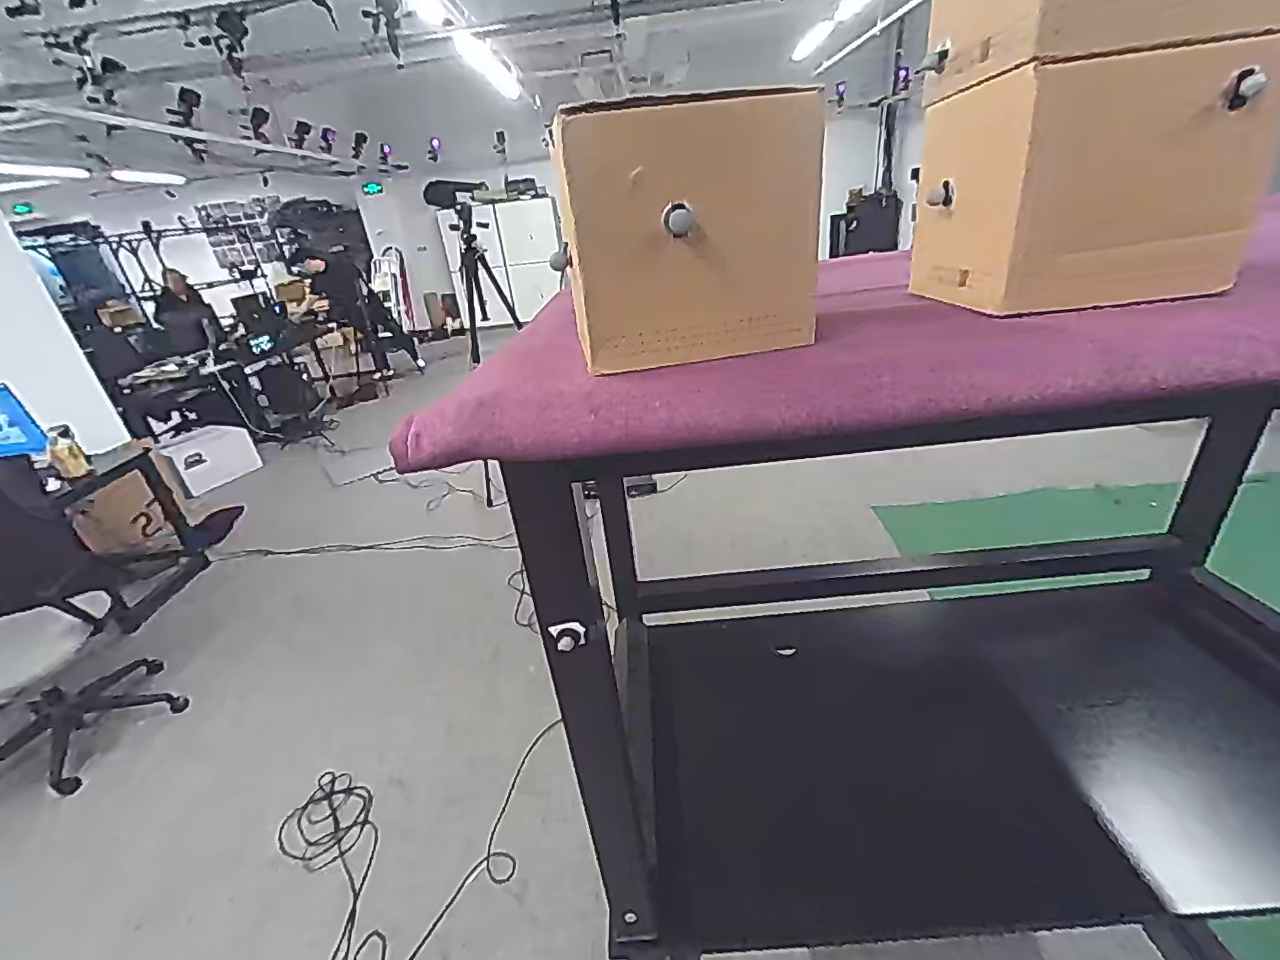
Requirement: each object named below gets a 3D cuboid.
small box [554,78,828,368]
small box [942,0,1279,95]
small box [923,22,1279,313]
[{"bbox_3d":[0.033,-0.197,0.438,0.179,0.176,0.168,-10,28,-6],"label":"small box"},{"bbox_3d":[0.341,-0.390,0.385,0.179,0.176,0.168,-4,26,3],"label":"small box"},{"bbox_3d":[0.358,-0.241,0.452,0.179,0.176,0.168,-5,26,4],"label":"small box"}]
